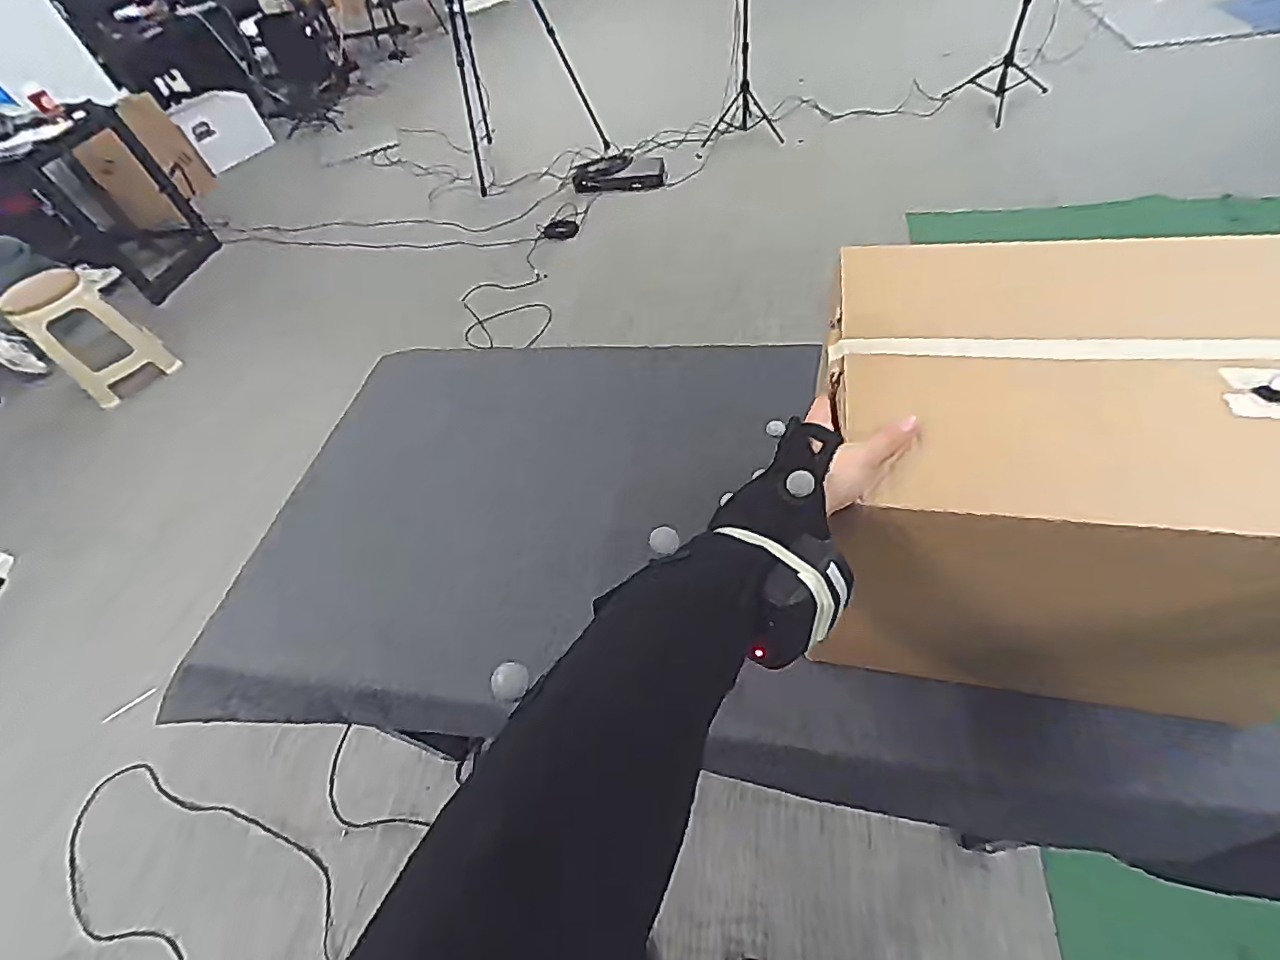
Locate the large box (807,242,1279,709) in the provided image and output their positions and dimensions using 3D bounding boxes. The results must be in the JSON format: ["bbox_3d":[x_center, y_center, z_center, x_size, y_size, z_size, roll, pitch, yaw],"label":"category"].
[{"bbox_3d":[0.385,-0.004,0.524,0.408,0.320,0.320,5,55,13],"label":"large box"}]
